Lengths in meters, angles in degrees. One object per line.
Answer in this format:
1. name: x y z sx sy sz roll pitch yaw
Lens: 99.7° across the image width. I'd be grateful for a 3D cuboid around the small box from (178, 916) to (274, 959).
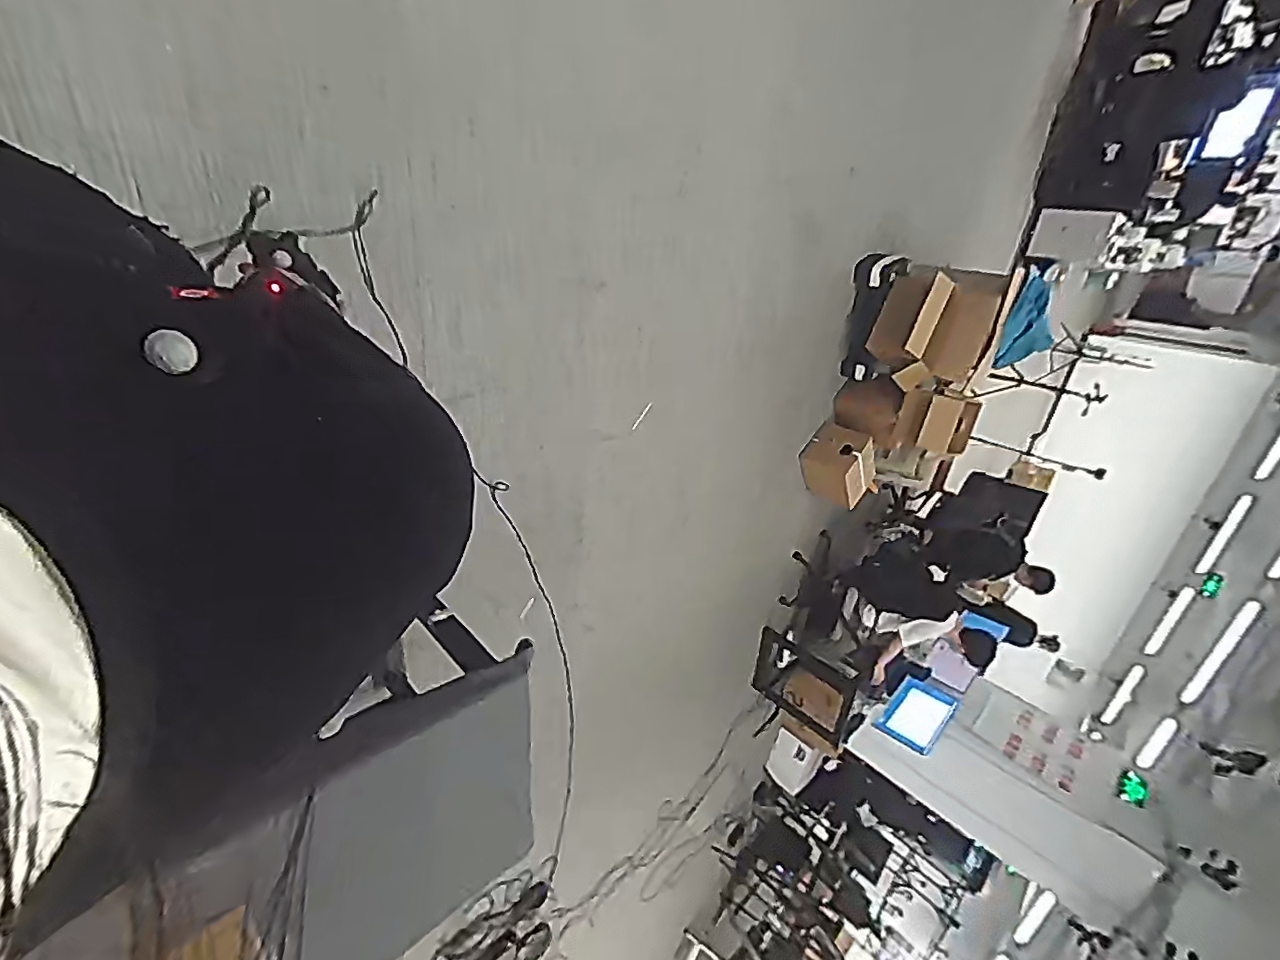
1. small box: -0.607 0.781 0.761 0.179 0.176 0.168 -19 124 -40
